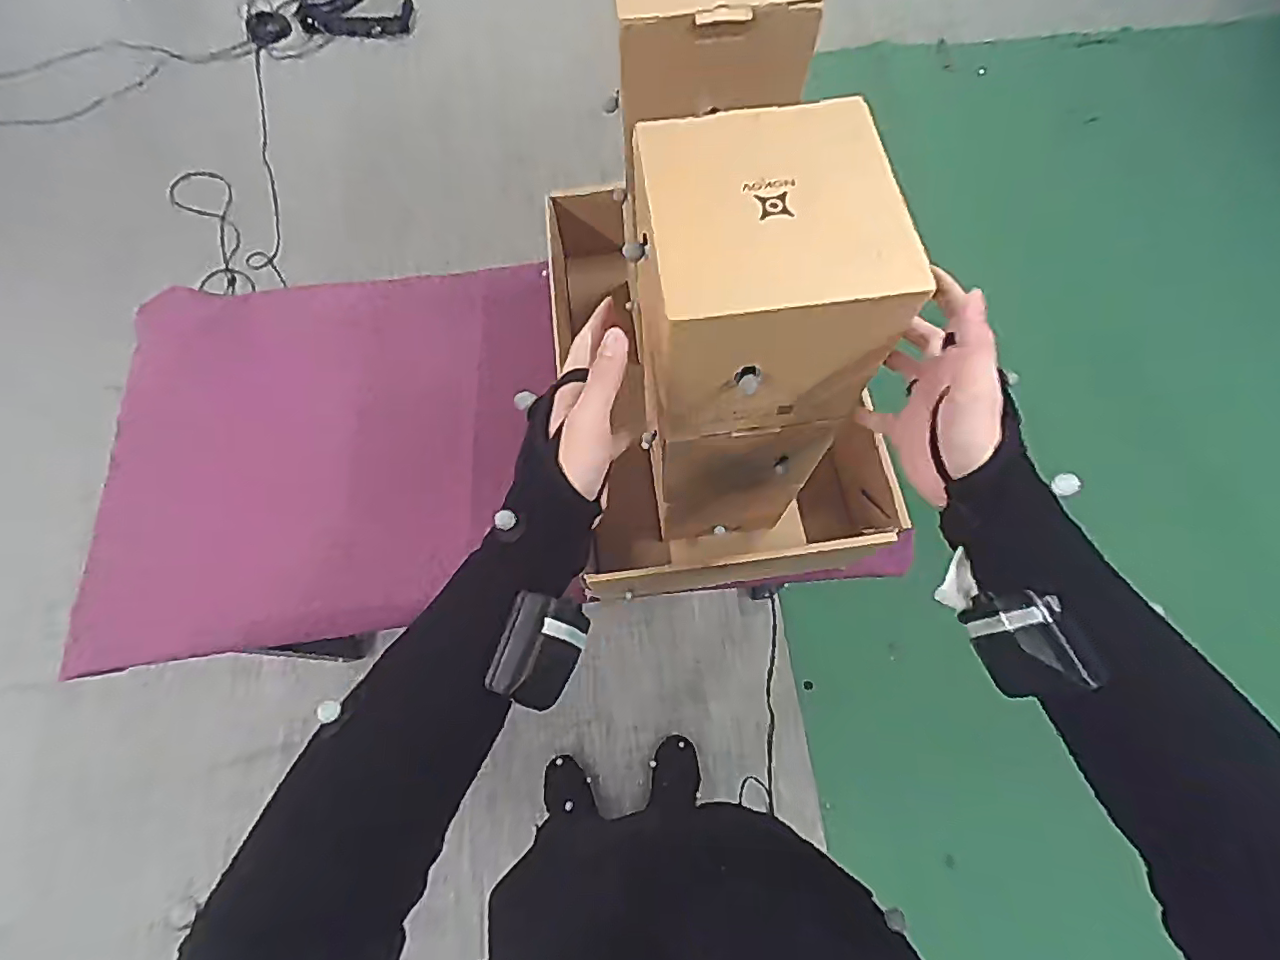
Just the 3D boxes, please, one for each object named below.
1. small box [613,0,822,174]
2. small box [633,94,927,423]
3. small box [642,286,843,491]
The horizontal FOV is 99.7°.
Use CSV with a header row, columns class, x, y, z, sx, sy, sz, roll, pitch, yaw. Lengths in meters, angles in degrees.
class,x,y,z,sx,sy,sz,roll,pitch,yaw
small box,0.061,-0.418,0.526,0.168,0.176,0.179,-5,71,0
small box,0.088,-0.157,0.430,0.168,0.176,0.179,-7,68,0
small box,0.095,-0.096,0.579,0.168,0.176,0.179,-7,68,0
